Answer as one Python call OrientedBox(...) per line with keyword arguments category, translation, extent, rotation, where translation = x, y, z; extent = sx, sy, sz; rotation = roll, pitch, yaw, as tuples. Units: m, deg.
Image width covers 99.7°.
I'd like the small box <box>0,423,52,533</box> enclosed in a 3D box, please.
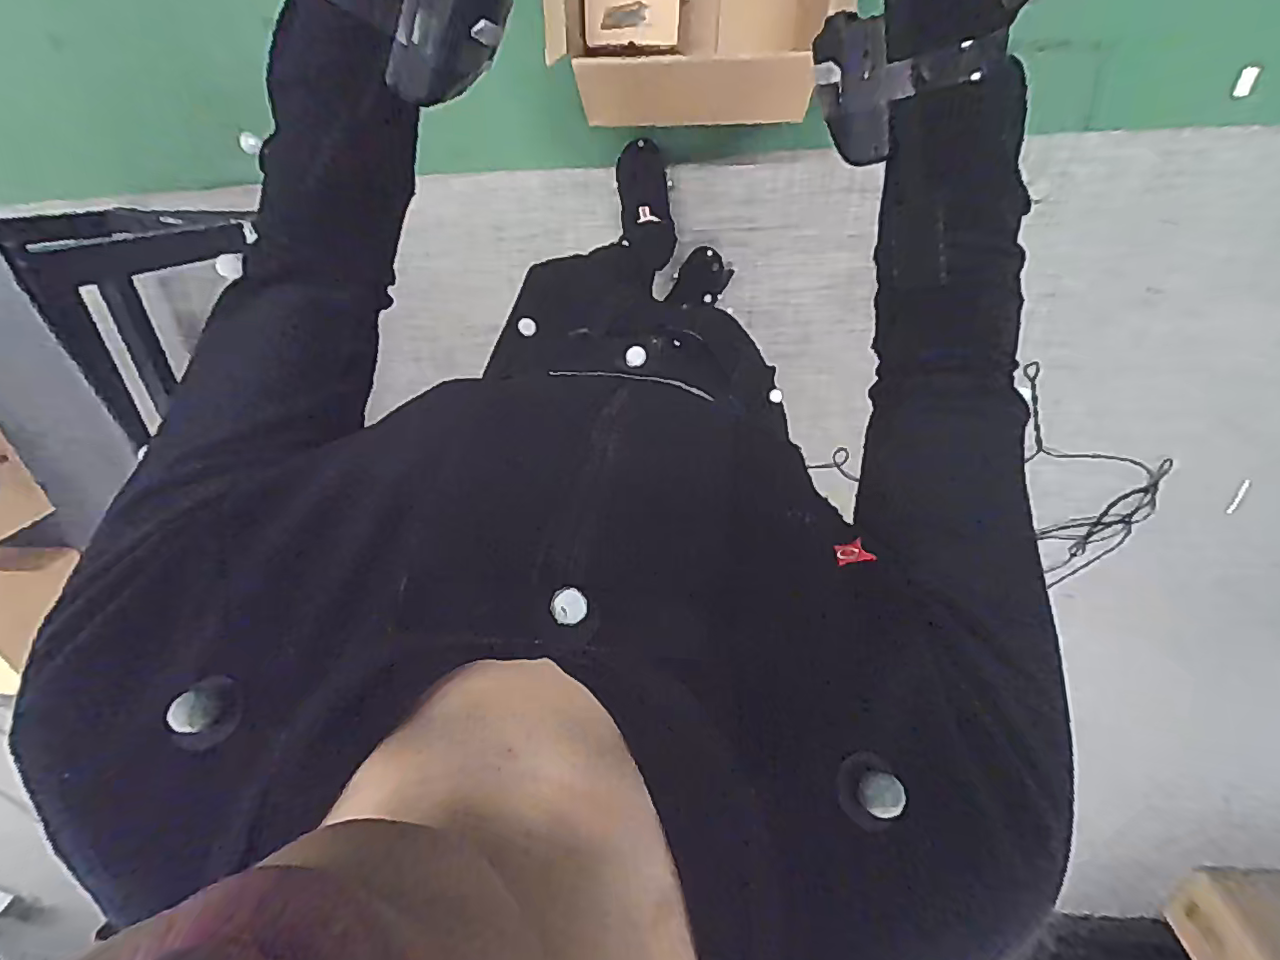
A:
OrientedBox(category="small box", translation=(-1.026, 0.013, 0.763), extent=(0.179, 0.176, 0.168), rotation=(1, 121, 5))
